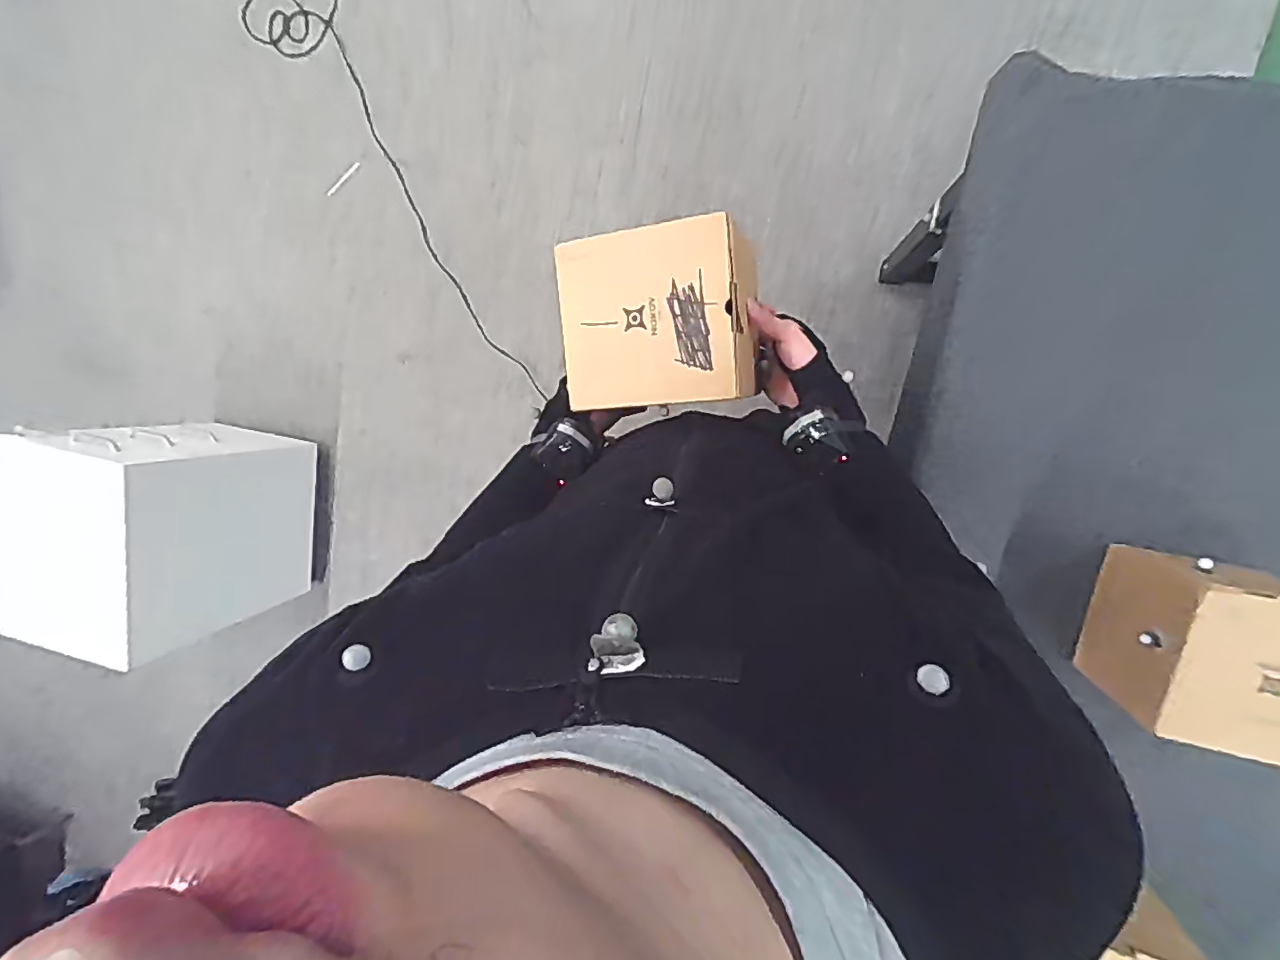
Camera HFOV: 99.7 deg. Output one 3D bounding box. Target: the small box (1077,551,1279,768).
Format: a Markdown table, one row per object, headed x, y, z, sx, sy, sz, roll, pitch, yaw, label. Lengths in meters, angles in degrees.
| x | y | z | sx | sy | sz | roll | pitch | yaw | label |
| --- | --- | --- | --- | --- | --- | --- | --- | --- | --- |
| 0.658 | 0.196 | 0.628 | 0.168 | 0.176 | 0.179 | 11 | 102 | 12 | small box |
